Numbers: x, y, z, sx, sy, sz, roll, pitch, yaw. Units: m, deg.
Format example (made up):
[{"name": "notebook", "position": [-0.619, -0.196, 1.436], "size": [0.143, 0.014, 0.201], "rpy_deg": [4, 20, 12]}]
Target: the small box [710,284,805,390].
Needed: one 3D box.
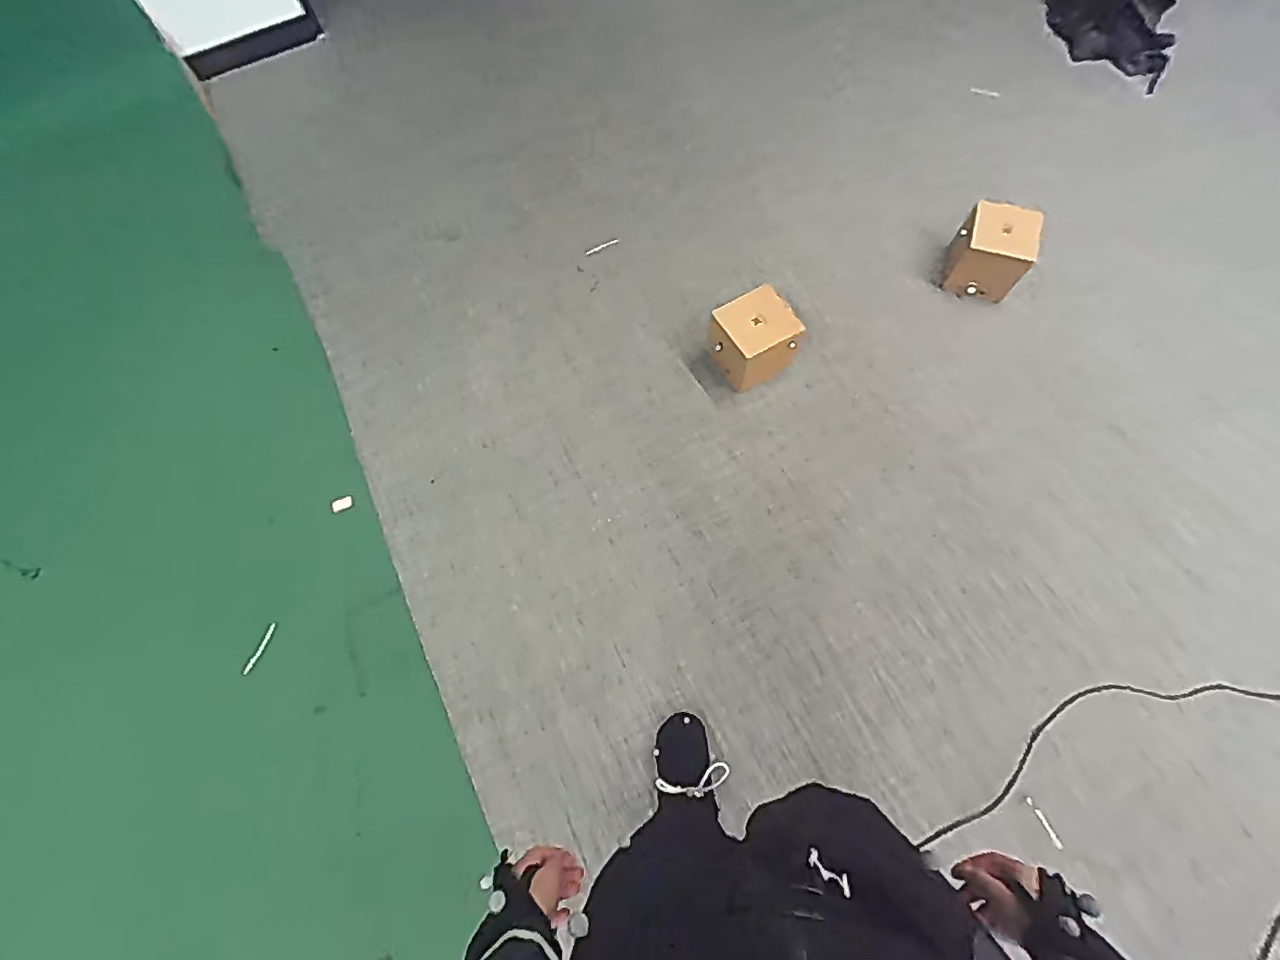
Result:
[{"name": "small box", "position": [0.293, -0.364, 1.403], "size": [0.179, 0.176, 0.168], "rpy_deg": [-29, 71, -9]}]

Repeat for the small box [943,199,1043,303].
[{"name": "small box", "position": [0.958, -0.621, 1.477], "size": [0.168, 0.176, 0.179], "rpy_deg": [17, 72, 10]}]
